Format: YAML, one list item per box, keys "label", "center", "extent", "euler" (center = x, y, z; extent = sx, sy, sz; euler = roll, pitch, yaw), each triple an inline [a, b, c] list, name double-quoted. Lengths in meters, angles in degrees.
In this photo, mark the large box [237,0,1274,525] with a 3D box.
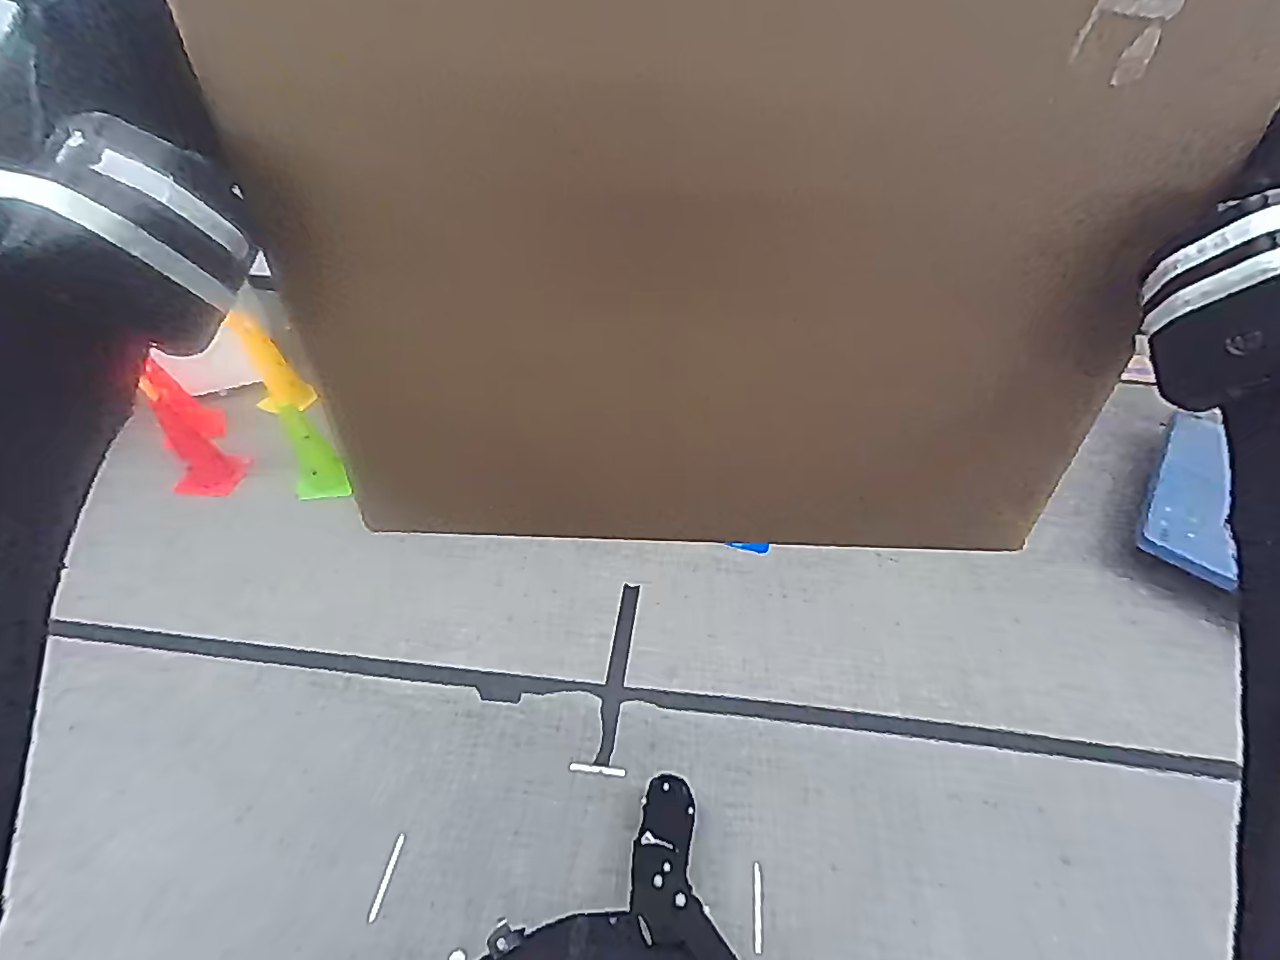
- label: "large box"
  center: [0.039, -0.181, 0.382]
  extent: [0.408, 0.320, 0.320]
  euler: [2, 36, 0]
